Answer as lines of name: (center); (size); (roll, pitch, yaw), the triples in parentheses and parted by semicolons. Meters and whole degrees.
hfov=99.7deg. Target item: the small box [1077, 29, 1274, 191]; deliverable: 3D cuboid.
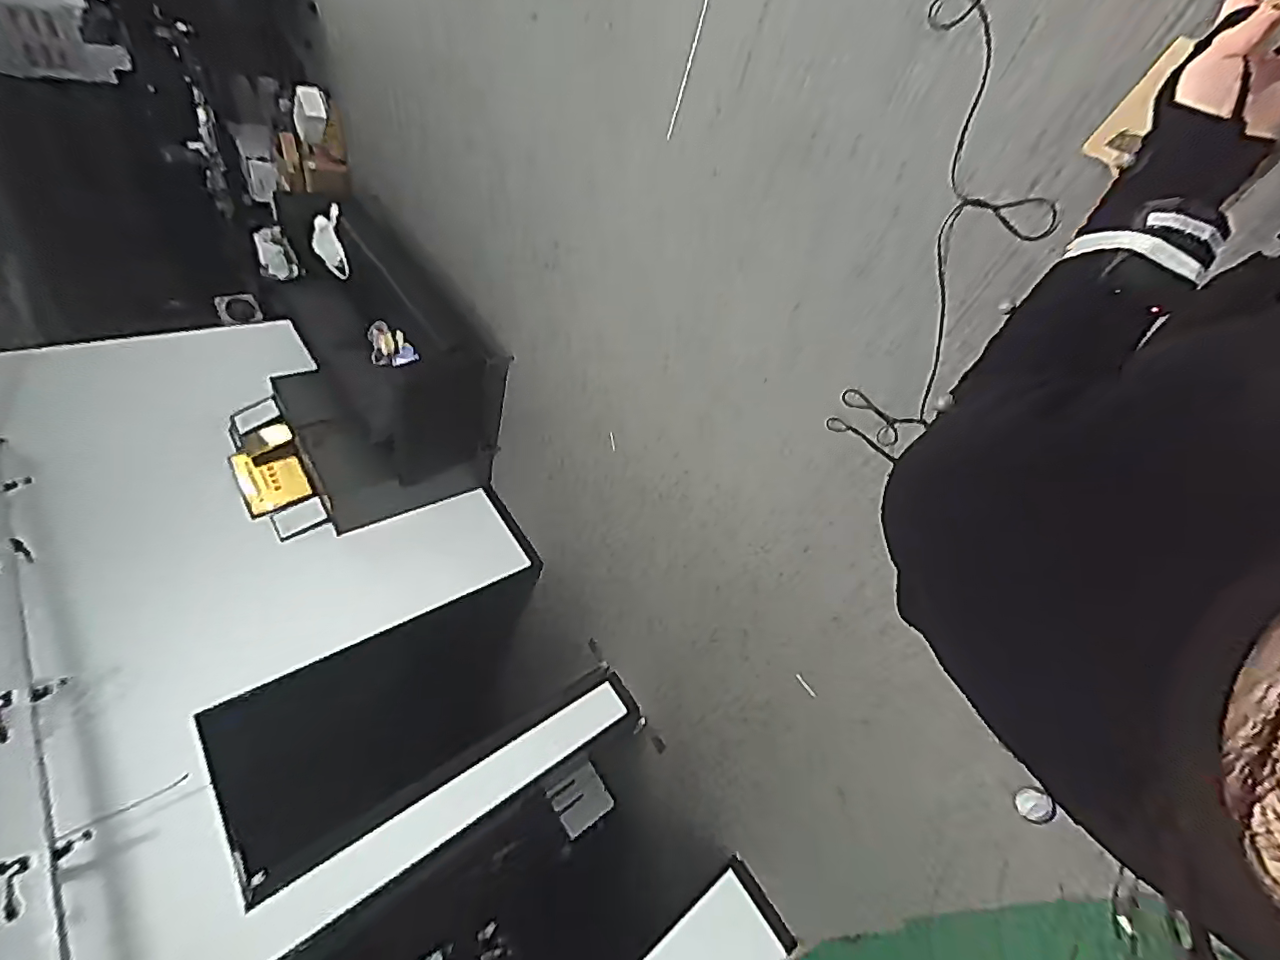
small box: (0.926, -0.628, 0.937); (0.168, 0.176, 0.179); (52, 141, 20)
